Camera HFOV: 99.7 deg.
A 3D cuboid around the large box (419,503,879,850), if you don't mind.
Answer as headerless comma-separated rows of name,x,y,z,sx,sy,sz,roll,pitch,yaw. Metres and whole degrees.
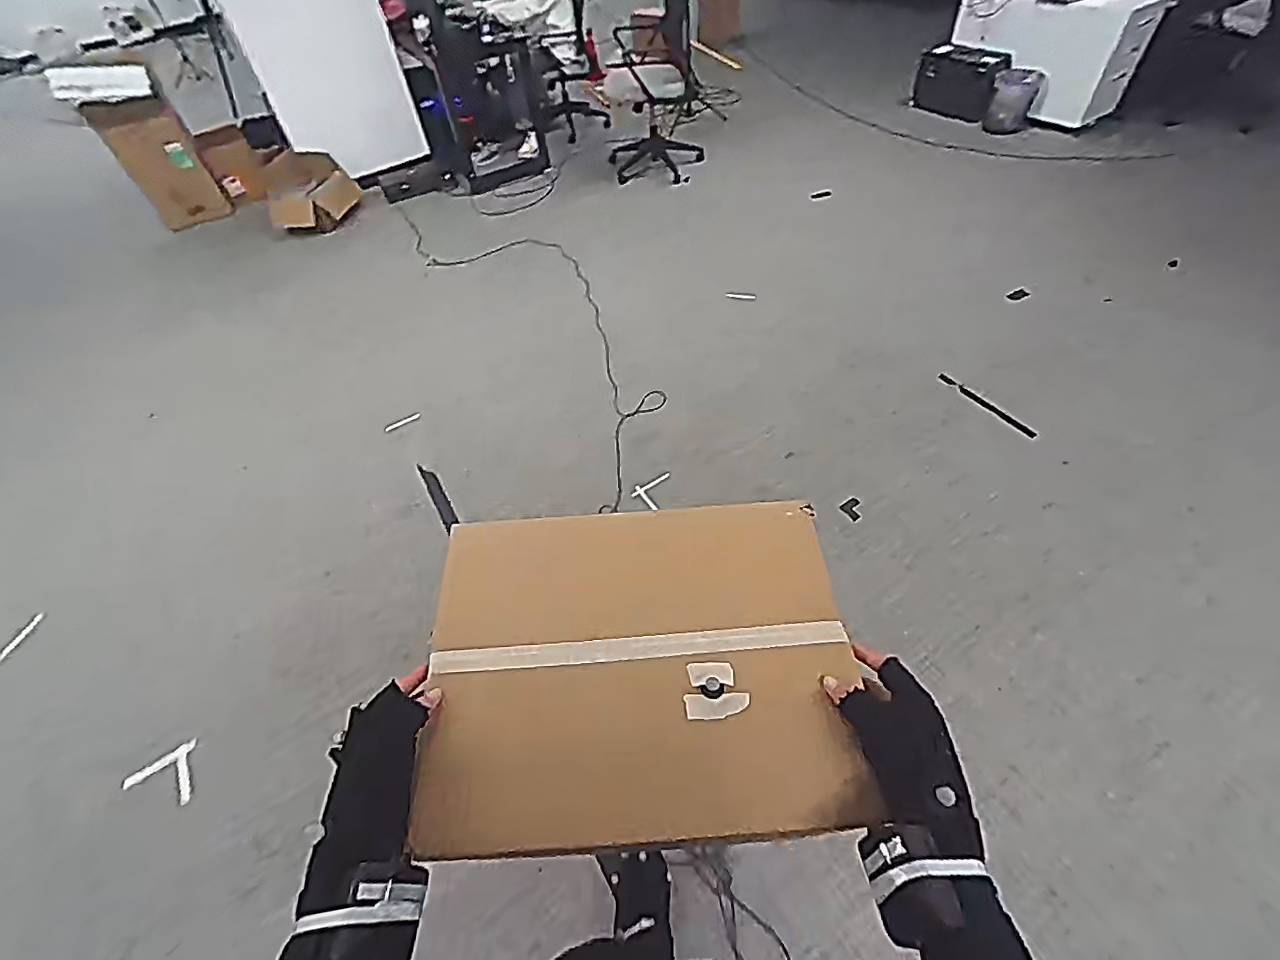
large box,0.003,0.250,0.664,0.408,0.320,0.320,-3,55,0
